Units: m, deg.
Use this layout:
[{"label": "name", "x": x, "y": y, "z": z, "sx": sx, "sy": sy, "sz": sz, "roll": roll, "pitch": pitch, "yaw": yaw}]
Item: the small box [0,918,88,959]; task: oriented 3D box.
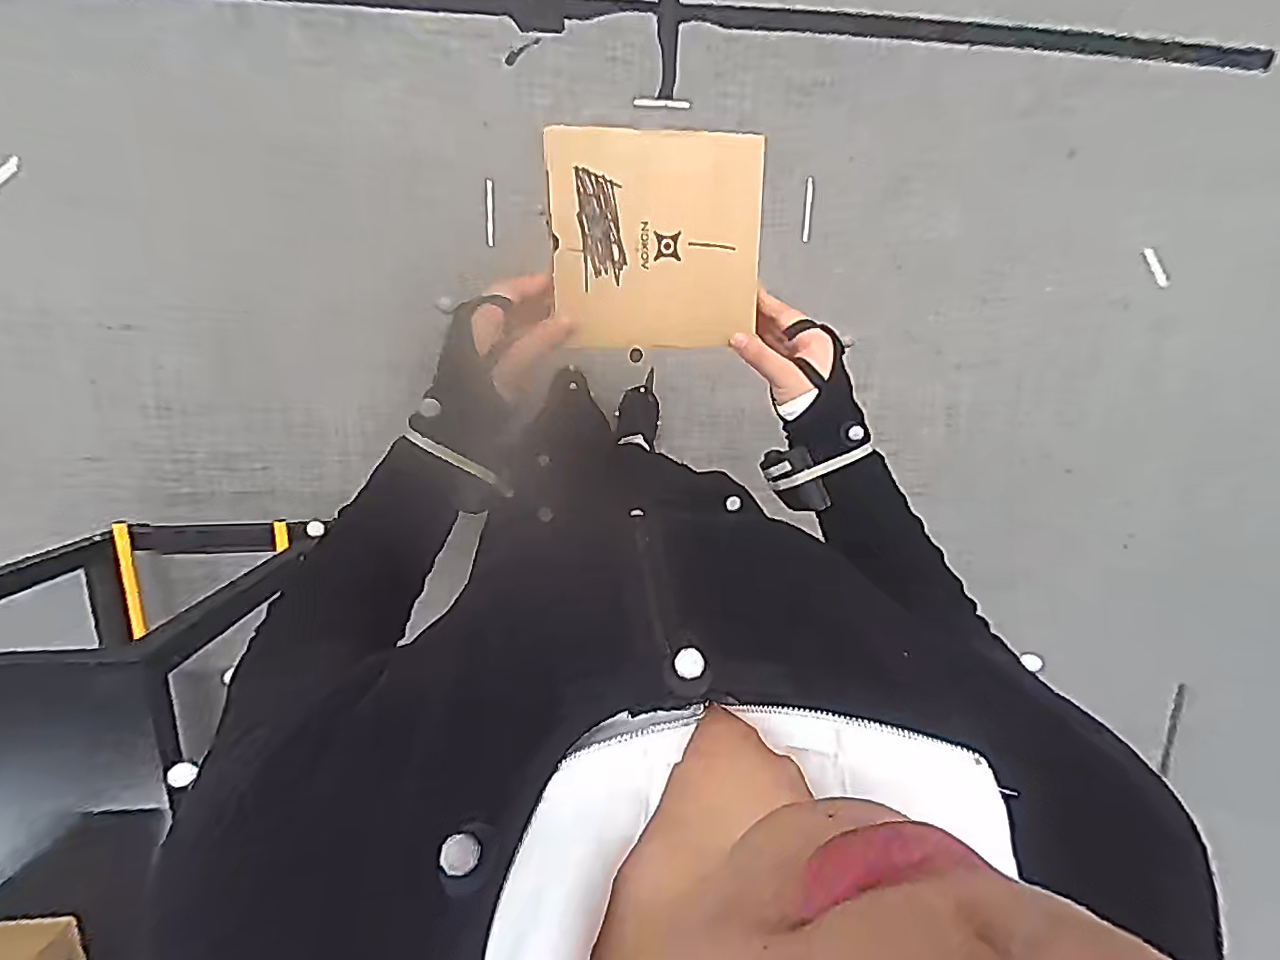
[{"label": "small box", "x": -0.921, "y": 0.748, "z": 0.738, "sx": 0.179, "sy": 0.176, "sz": 0.168, "roll": -1, "pitch": 103, "yaw": -6}]

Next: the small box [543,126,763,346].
[{"label": "small box", "x": 0.002, "y": -0.214, "z": 0.517, "sx": 0.179, "sy": 0.176, "sz": 0.168, "roll": -3, "pitch": 106, "yaw": -8}]
